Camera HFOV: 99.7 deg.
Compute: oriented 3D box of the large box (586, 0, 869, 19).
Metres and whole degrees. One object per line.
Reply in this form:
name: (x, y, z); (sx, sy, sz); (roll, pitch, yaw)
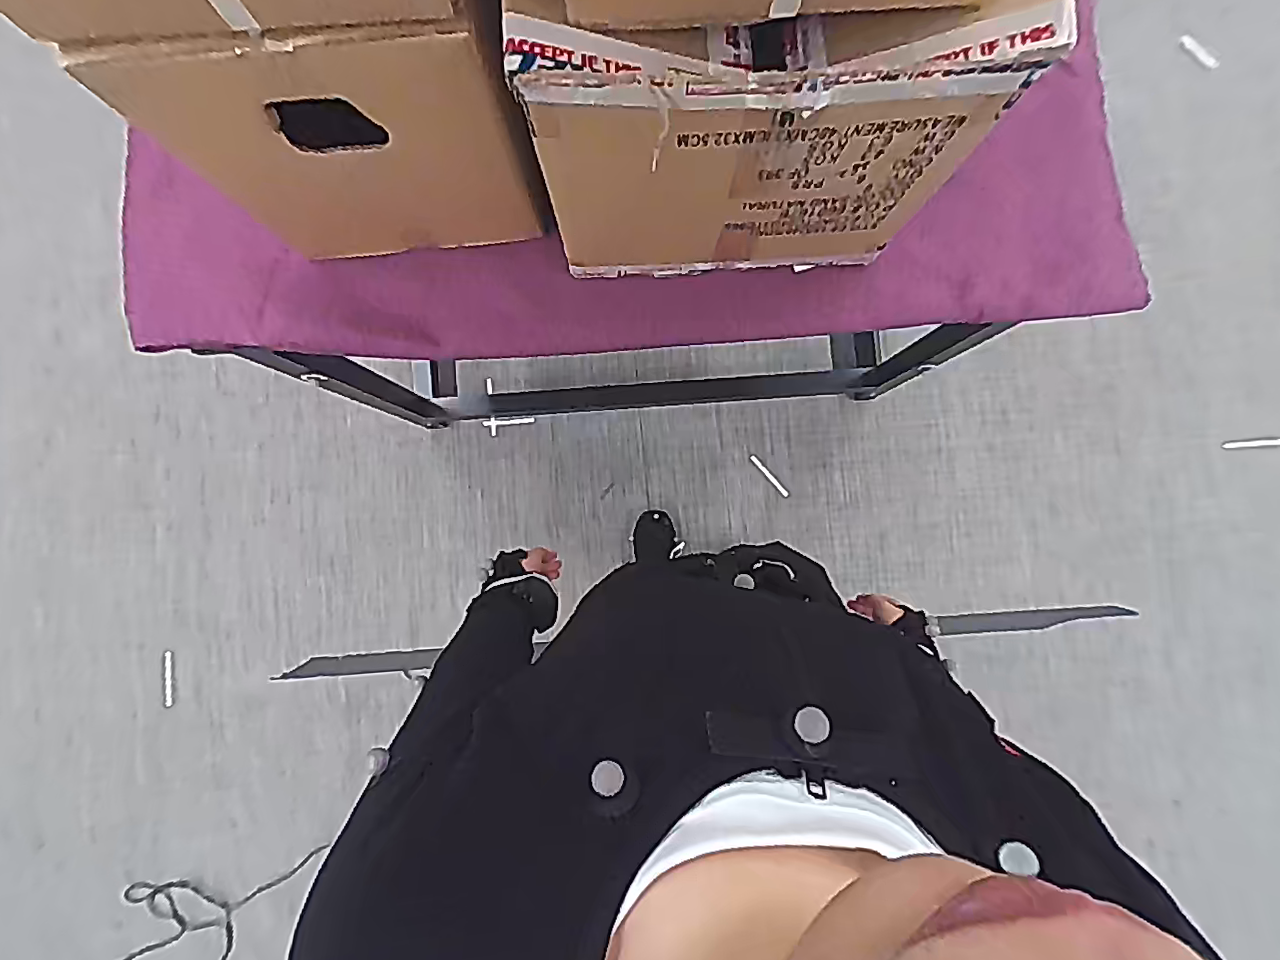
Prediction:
large box: (0.096, -0.546, 0.251); (0.320, 0.320, 0.408); (-4, 87, 1)
